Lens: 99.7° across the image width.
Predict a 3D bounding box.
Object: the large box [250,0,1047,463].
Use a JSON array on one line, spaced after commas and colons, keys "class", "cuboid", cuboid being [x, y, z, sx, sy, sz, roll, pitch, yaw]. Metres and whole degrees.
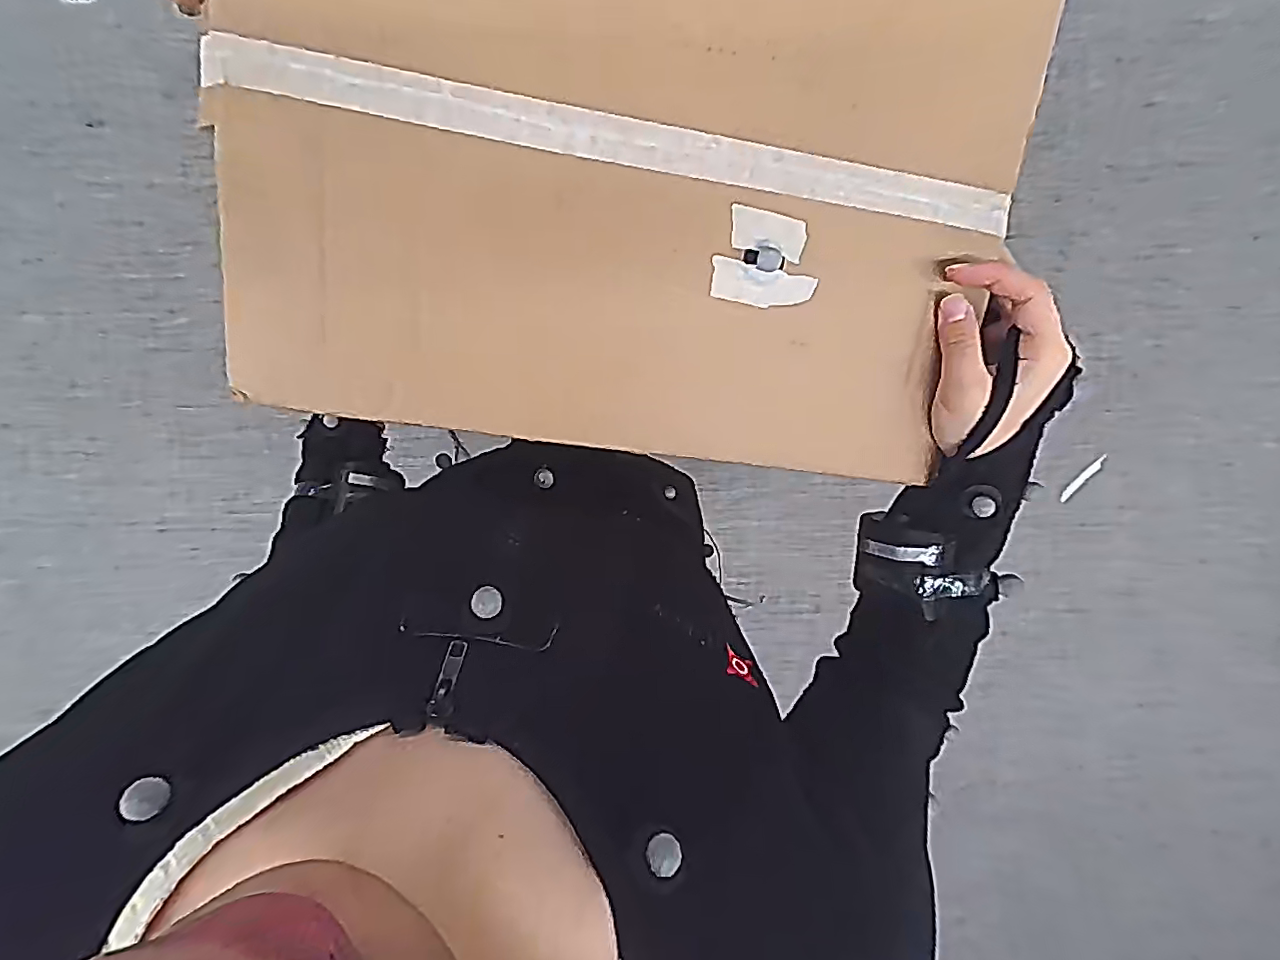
[{"class": "large box", "cuboid": [-0.010, -0.210, 0.428, 0.408, 0.320, 0.320, 6, 104, -10]}]
